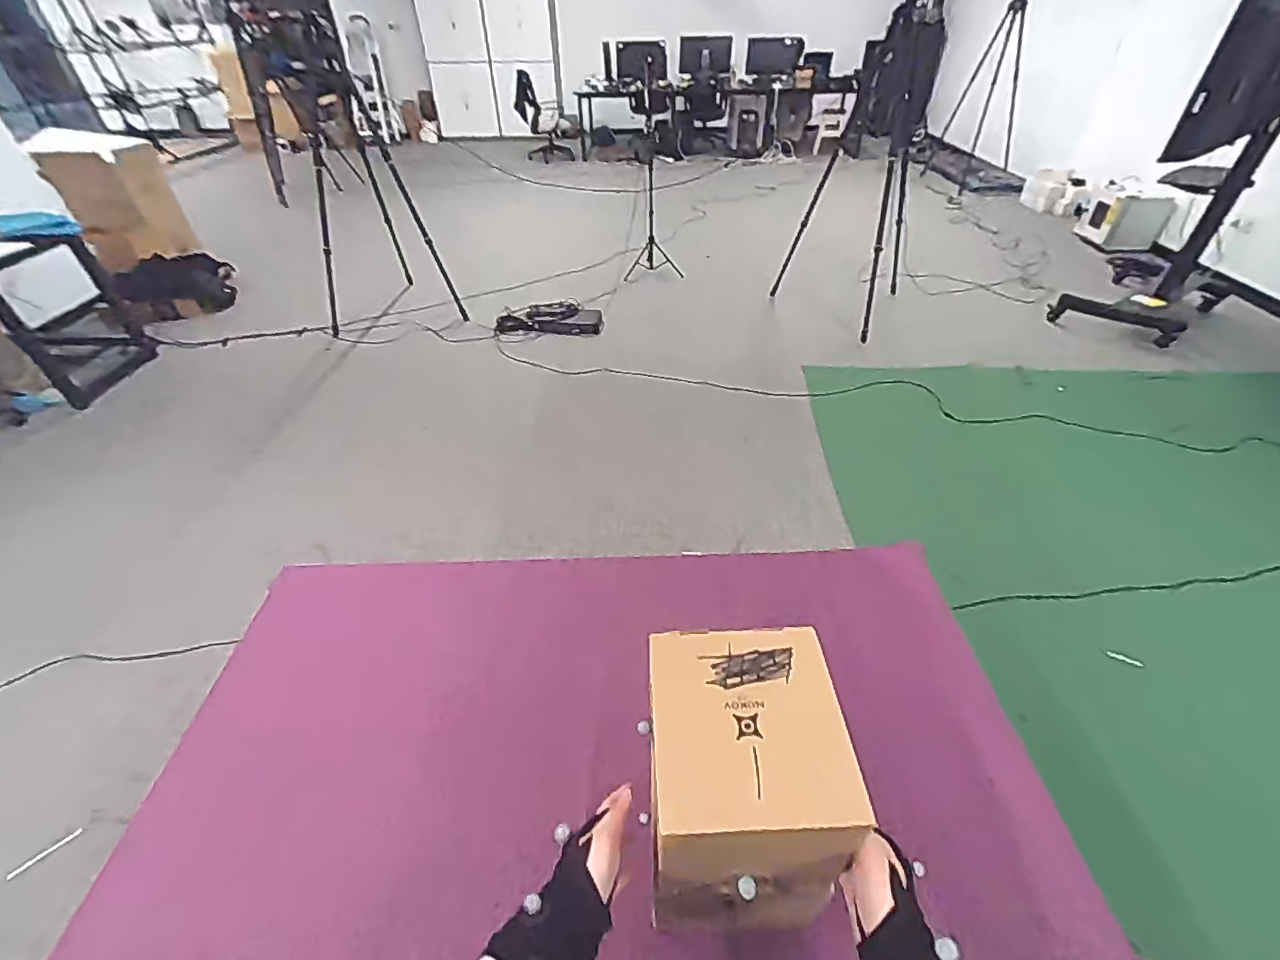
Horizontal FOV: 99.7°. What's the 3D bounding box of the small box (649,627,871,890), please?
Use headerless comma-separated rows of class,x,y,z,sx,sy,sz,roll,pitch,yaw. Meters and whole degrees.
small box,0.093,0.265,0.521,0.168,0.176,0.179,-3,41,0

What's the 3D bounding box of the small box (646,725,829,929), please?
small box,0.098,0.395,0.622,0.179,0.176,0.168,0,41,2
